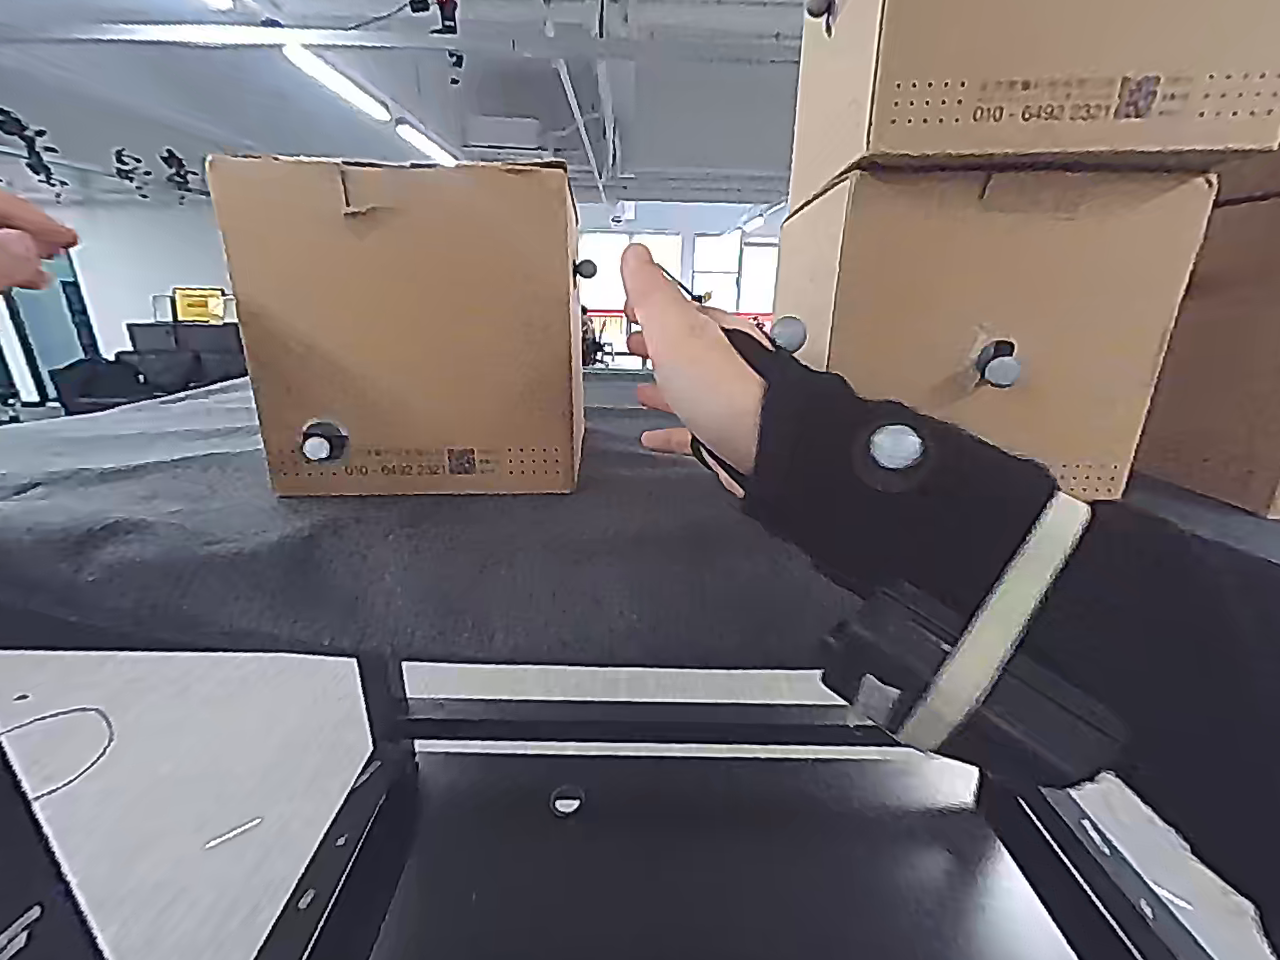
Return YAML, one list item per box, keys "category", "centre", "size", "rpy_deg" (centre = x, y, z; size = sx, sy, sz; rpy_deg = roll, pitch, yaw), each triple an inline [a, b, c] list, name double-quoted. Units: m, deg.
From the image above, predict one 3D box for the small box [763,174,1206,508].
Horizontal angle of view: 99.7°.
- category: "small box"
  centre: [0.181, -0.088, 0.353]
  size: [0.168, 0.176, 0.179]
  rpy_deg: [3, 19, 2]

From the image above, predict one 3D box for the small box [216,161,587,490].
- category: "small box"
  centre: [-0.121, -0.095, 0.358]
  size: [0.168, 0.176, 0.179]
  rpy_deg: [0, 17, -4]

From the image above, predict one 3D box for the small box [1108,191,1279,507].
- category: "small box"
  centre: [0.418, -0.084, 0.349]
  size: [0.168, 0.176, 0.179]
  rpy_deg: [0, 18, 1]
